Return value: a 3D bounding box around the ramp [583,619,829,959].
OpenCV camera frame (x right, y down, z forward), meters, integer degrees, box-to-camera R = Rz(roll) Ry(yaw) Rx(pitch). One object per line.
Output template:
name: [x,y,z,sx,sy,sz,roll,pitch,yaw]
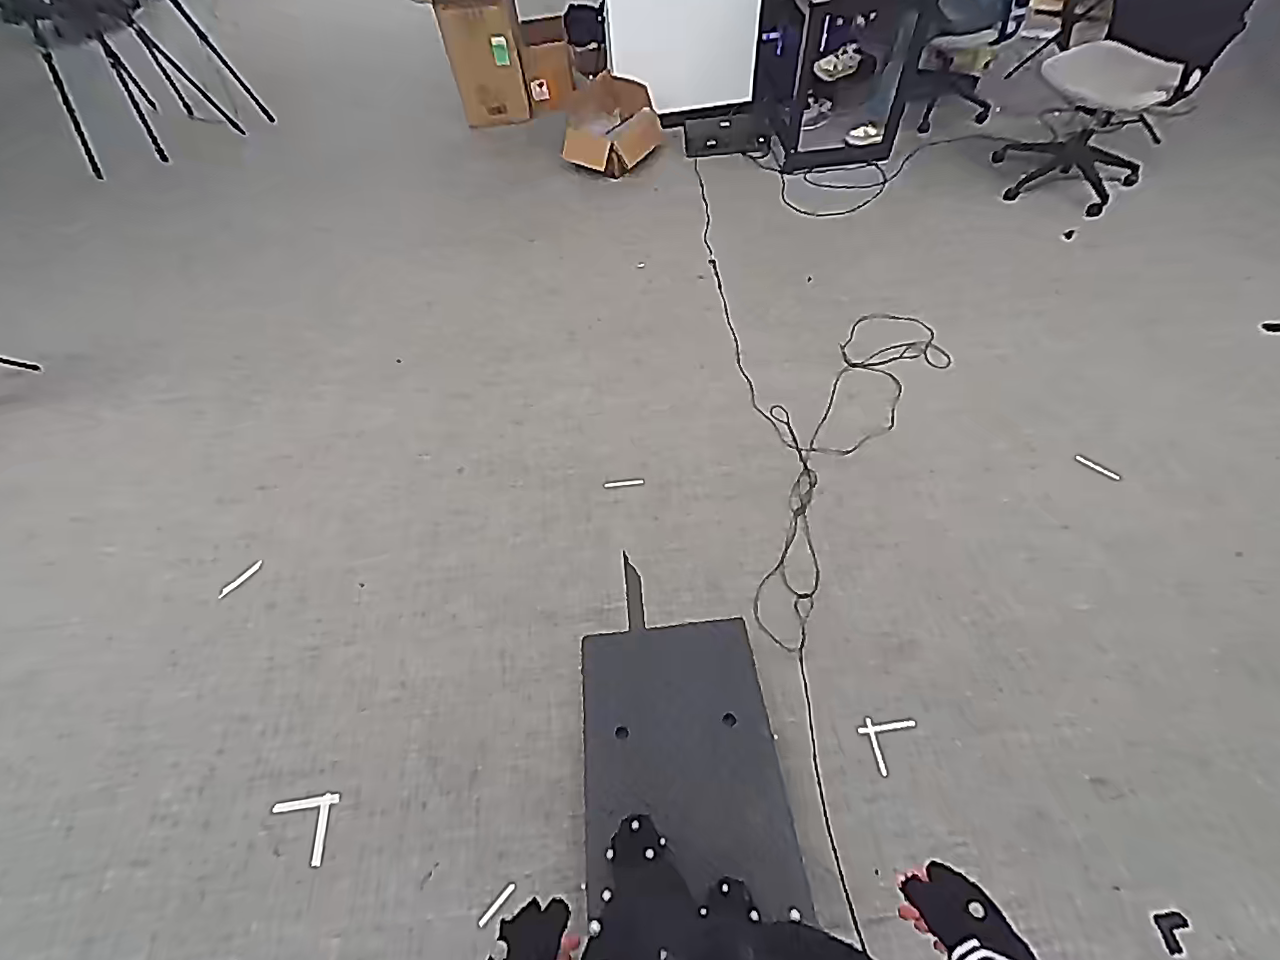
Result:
ramp: [0.115,0.808,1.284,0.509,0.206,0.991,-9,57,0]
